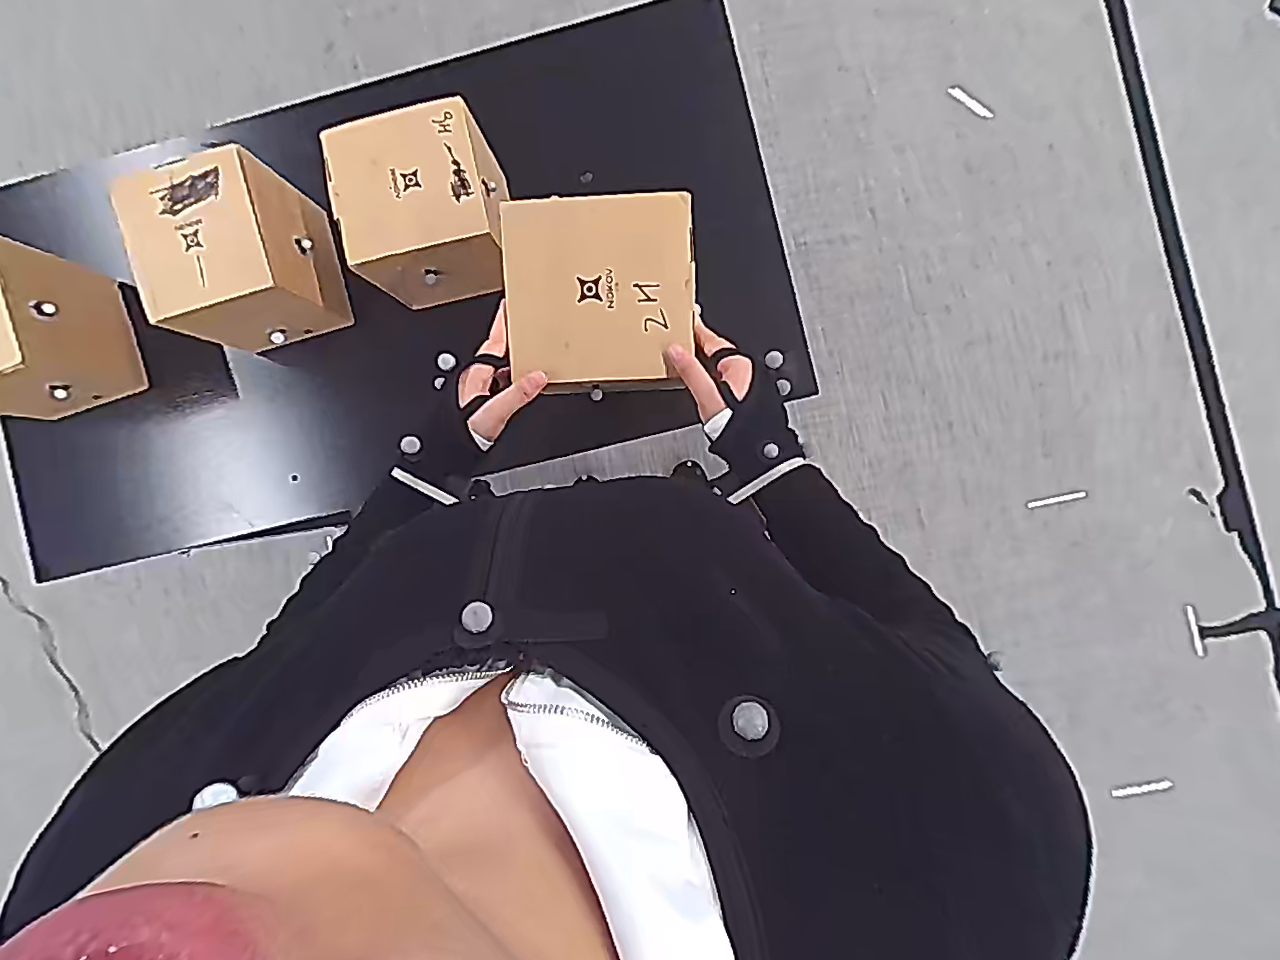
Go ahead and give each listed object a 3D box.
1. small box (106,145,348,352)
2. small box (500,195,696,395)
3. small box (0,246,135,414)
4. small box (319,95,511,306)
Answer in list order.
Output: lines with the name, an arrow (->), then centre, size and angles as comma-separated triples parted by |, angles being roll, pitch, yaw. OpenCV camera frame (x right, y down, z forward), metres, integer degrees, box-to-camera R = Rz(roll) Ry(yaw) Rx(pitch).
small box -> -0.522, -0.288, 0.709 | 0.168, 0.176, 0.179 | -15, 90, 3
small box -> -0.035, -0.178, 0.568 | 0.179, 0.176, 0.168 | -2, 97, 1
small box -> -0.841, -0.194, 0.725 | 0.168, 0.176, 0.179 | -18, 89, 1
small box -> -0.268, -0.341, 0.699 | 0.179, 0.176, 0.168 | -12, 90, 3
